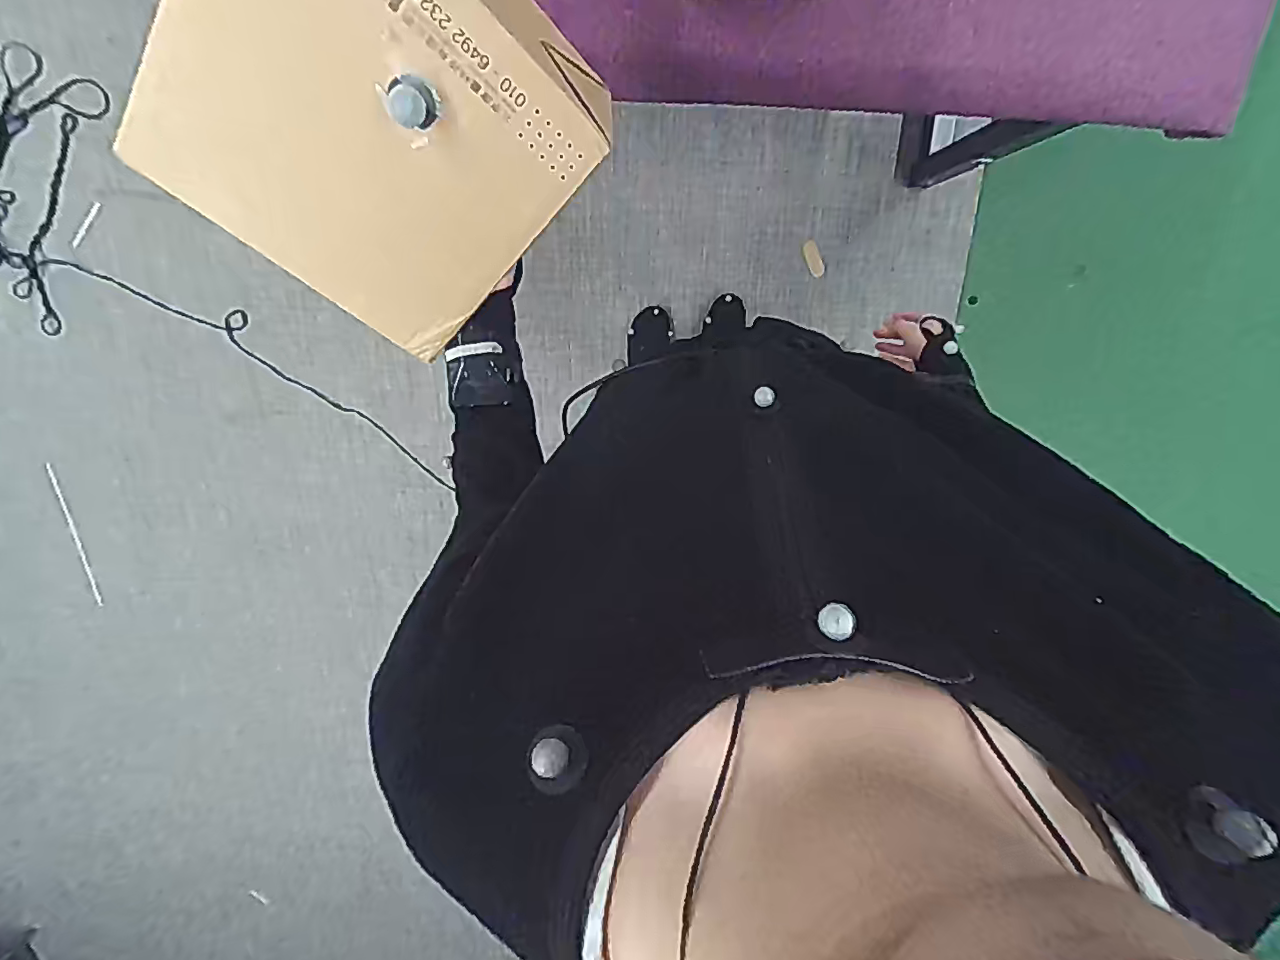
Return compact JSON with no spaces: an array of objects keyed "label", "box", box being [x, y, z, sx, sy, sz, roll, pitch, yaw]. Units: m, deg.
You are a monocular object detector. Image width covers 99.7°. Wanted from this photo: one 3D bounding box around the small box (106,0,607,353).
[{"label":"small box","box":[-0.133,-0.216,0.310,0.168,0.179,0.176,34,121,-30]}]
